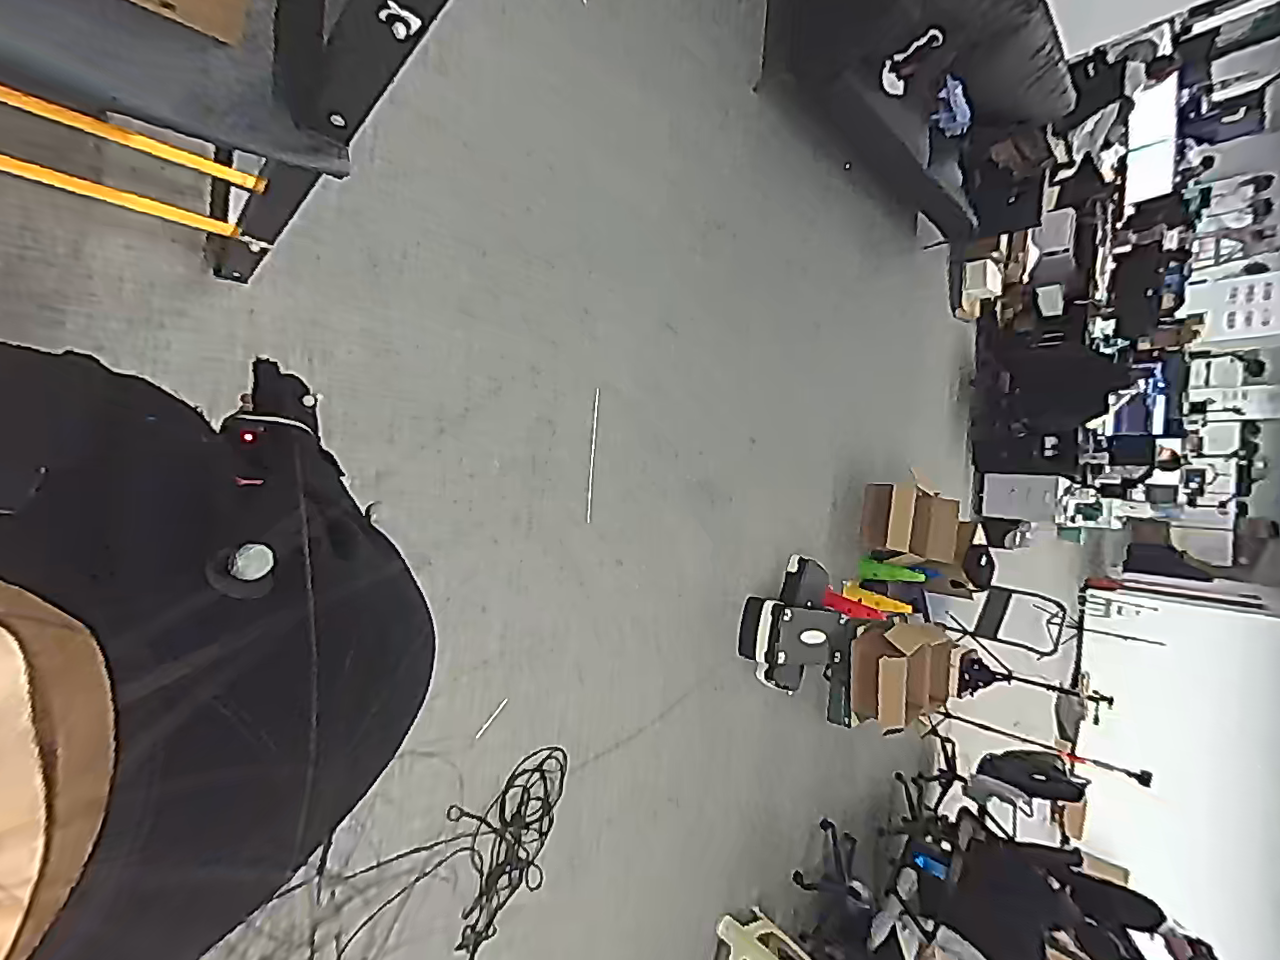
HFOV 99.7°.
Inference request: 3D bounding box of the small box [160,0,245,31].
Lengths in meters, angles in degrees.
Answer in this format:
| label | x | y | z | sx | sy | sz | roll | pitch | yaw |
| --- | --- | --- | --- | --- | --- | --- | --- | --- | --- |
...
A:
| label | x | y | z | sx | sy | sz | roll | pitch | yaw |
| --- | --- | --- | --- | --- | --- | --- | --- | --- | --- |
| small box | -0.464 | -0.585 | 0.504 | 0.168 | 0.176 | 0.179 | 0 | 93 | -44 |
